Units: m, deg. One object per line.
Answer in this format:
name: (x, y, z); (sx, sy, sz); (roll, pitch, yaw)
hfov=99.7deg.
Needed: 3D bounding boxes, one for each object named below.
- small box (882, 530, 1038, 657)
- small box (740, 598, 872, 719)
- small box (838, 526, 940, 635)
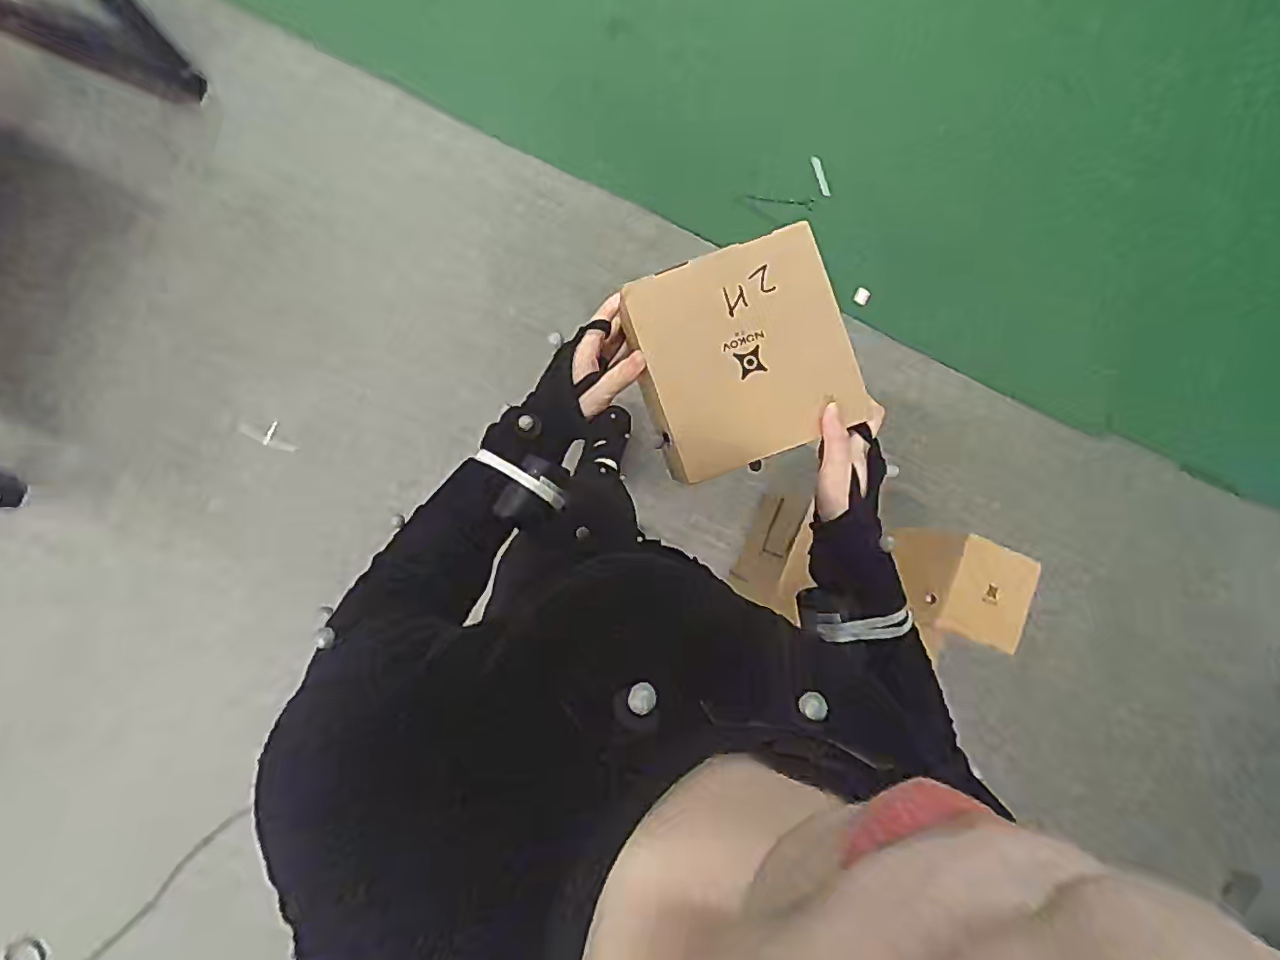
small box: (0.600, 0.206, 1.033); (0.168, 0.176, 0.179); (23, 86, -9)
small box: (0.345, 0.368, 1.152); (0.179, 0.176, 0.168); (28, 85, -8)
small box: (0.567, 0.213, 1.192); (0.168, 0.176, 0.179); (22, 85, -9)
